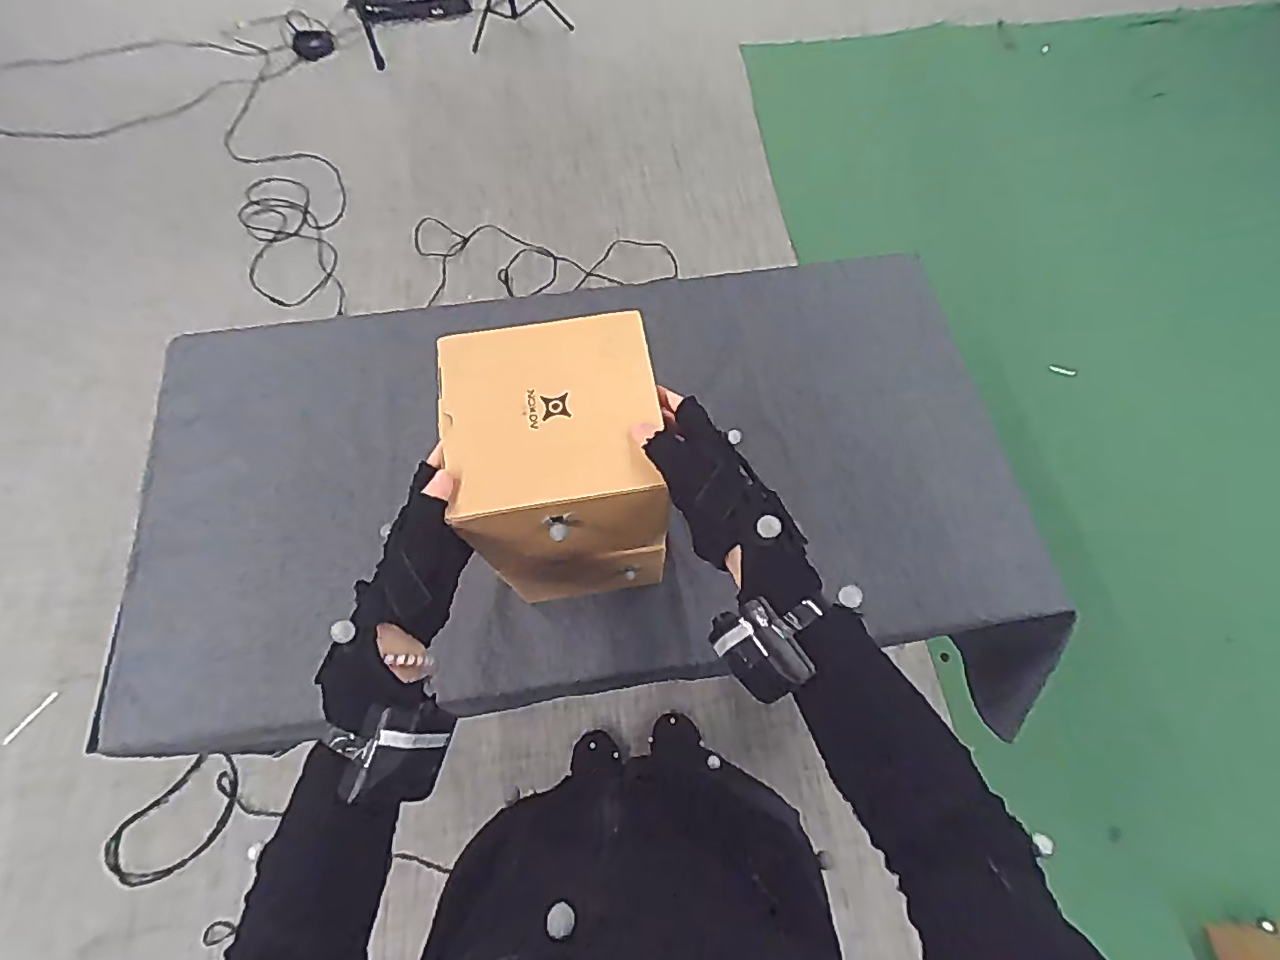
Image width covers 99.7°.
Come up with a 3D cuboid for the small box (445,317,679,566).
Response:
[{"bbox_3d":[-0.069,-0.026,0.510,0.179,0.176,0.168,-9,68,-4],"label":"small box"}]
